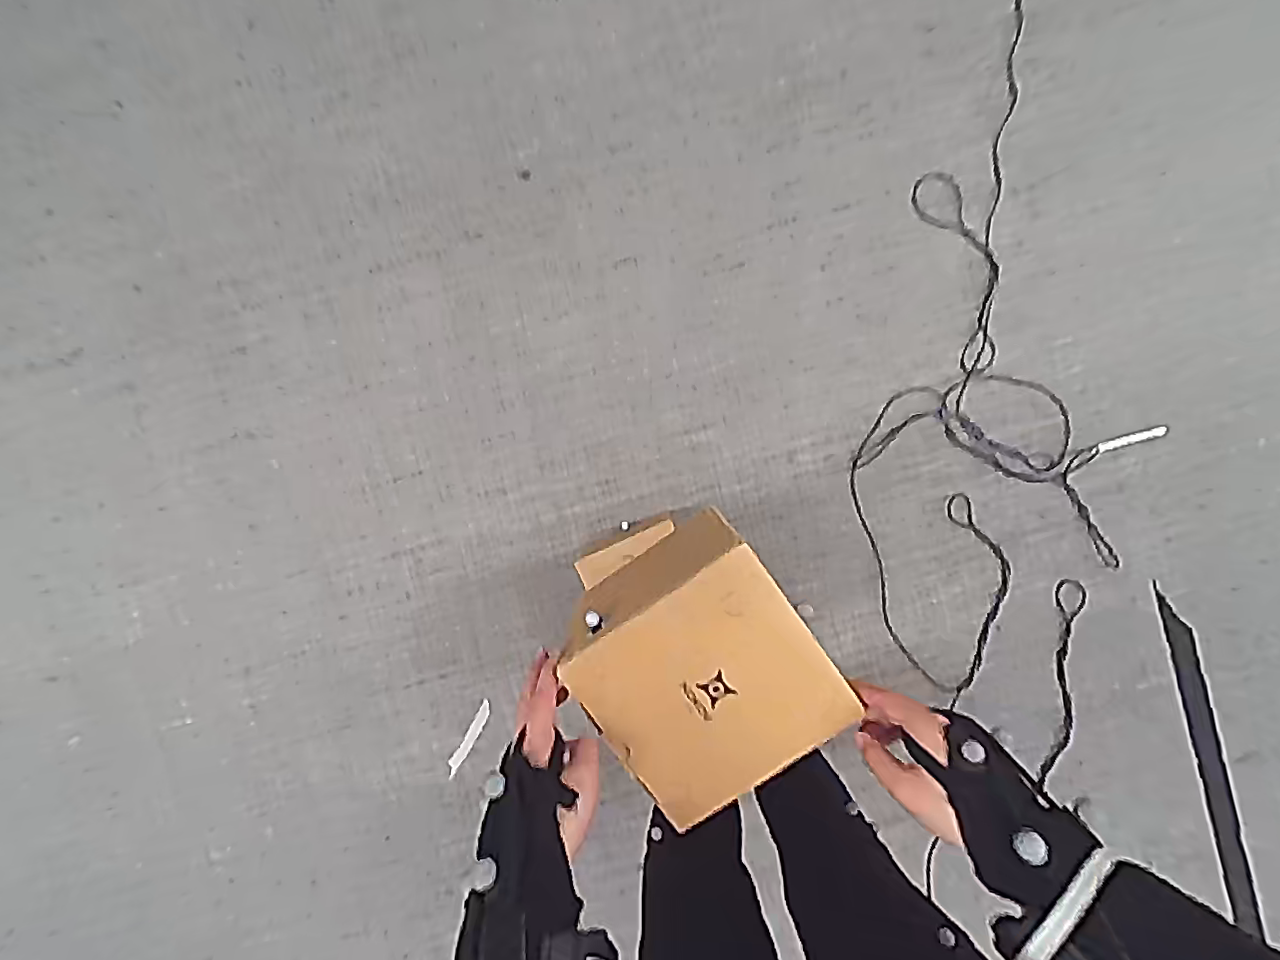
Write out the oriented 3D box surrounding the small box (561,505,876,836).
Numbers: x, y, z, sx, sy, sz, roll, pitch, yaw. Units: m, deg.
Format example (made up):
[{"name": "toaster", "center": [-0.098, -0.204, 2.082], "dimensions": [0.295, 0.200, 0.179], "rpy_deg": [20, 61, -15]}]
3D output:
[{"name": "small box", "center": [0.056, 0.142, 0.467], "dimensions": [0.179, 0.176, 0.168], "rpy_deg": [-35, 97, 5]}]
